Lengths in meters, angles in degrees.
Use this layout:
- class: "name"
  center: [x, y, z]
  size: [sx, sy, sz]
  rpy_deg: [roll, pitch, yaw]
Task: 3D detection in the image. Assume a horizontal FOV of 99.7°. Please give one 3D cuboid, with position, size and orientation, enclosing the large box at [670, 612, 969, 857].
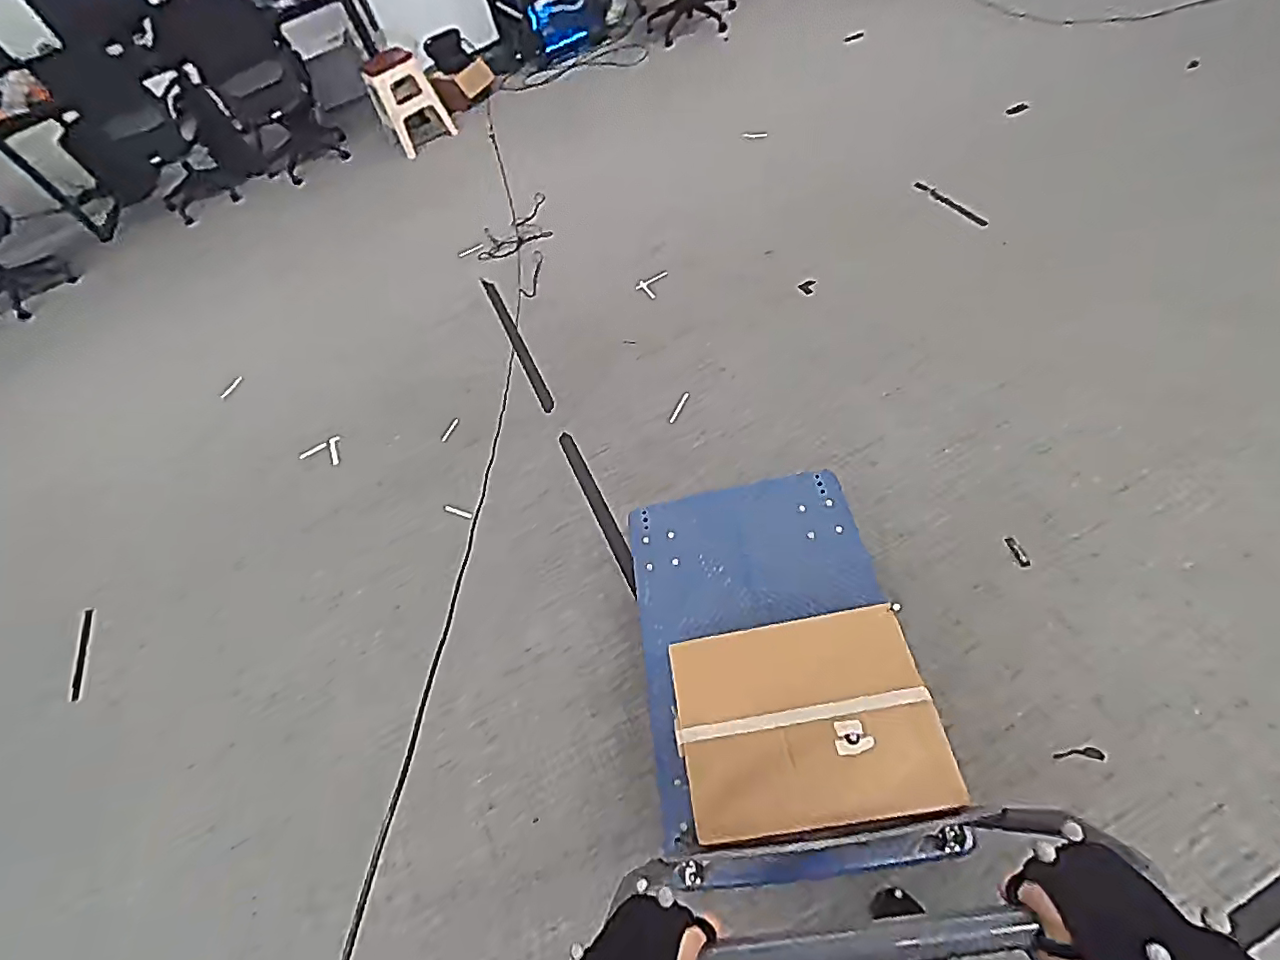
- class: "large box"
  center: [0.293, 0.480, 0.999]
  size: [0.408, 0.320, 0.320]
  rpy_deg: [-12, 55, 5]
